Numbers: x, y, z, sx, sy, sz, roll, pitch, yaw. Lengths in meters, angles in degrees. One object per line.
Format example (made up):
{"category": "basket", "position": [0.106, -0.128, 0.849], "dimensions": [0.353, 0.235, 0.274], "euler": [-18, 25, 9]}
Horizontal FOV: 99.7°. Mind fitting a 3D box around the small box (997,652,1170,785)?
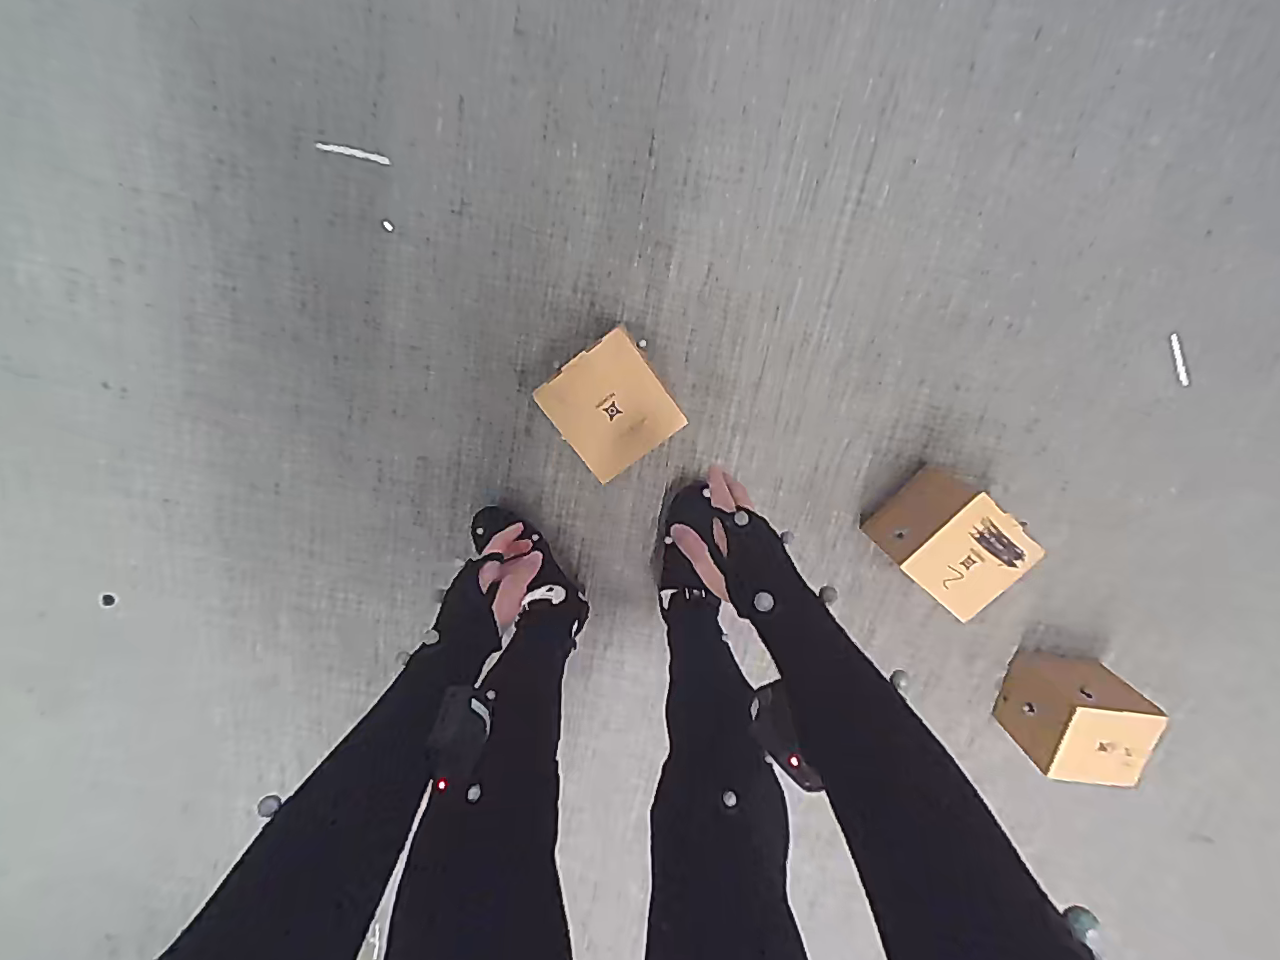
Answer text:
{"category": "small box", "position": [0.849, 0.458, 1.058], "dimensions": [0.179, 0.176, 0.168], "euler": [7, 108, -3]}
